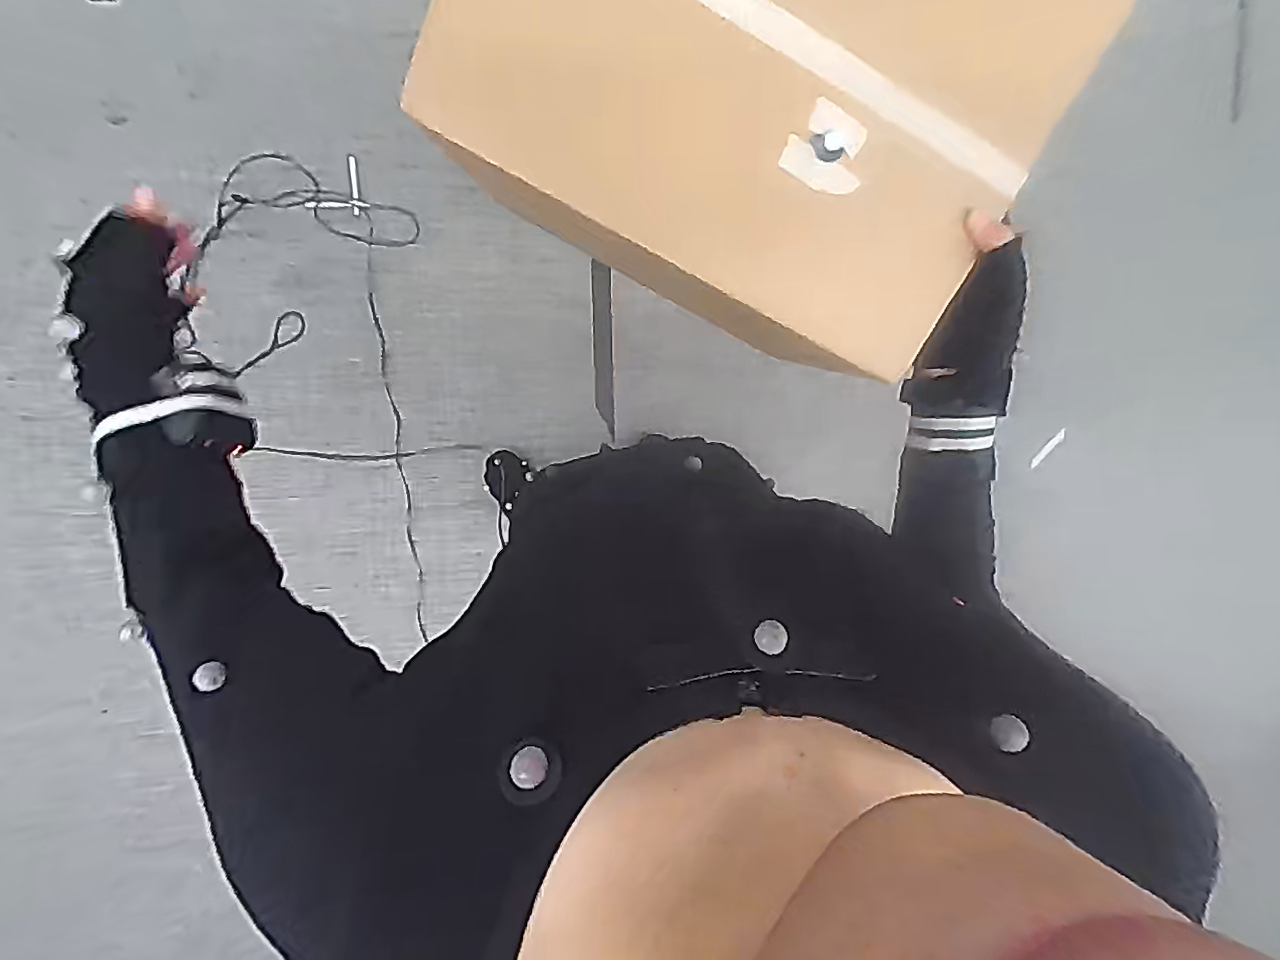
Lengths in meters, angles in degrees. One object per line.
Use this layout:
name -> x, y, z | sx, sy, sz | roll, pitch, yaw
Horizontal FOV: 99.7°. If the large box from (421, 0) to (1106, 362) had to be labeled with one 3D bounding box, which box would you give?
large box -> 0.081, -0.342, 0.509 | 0.408, 0.320, 0.320 | 25, 104, -9
